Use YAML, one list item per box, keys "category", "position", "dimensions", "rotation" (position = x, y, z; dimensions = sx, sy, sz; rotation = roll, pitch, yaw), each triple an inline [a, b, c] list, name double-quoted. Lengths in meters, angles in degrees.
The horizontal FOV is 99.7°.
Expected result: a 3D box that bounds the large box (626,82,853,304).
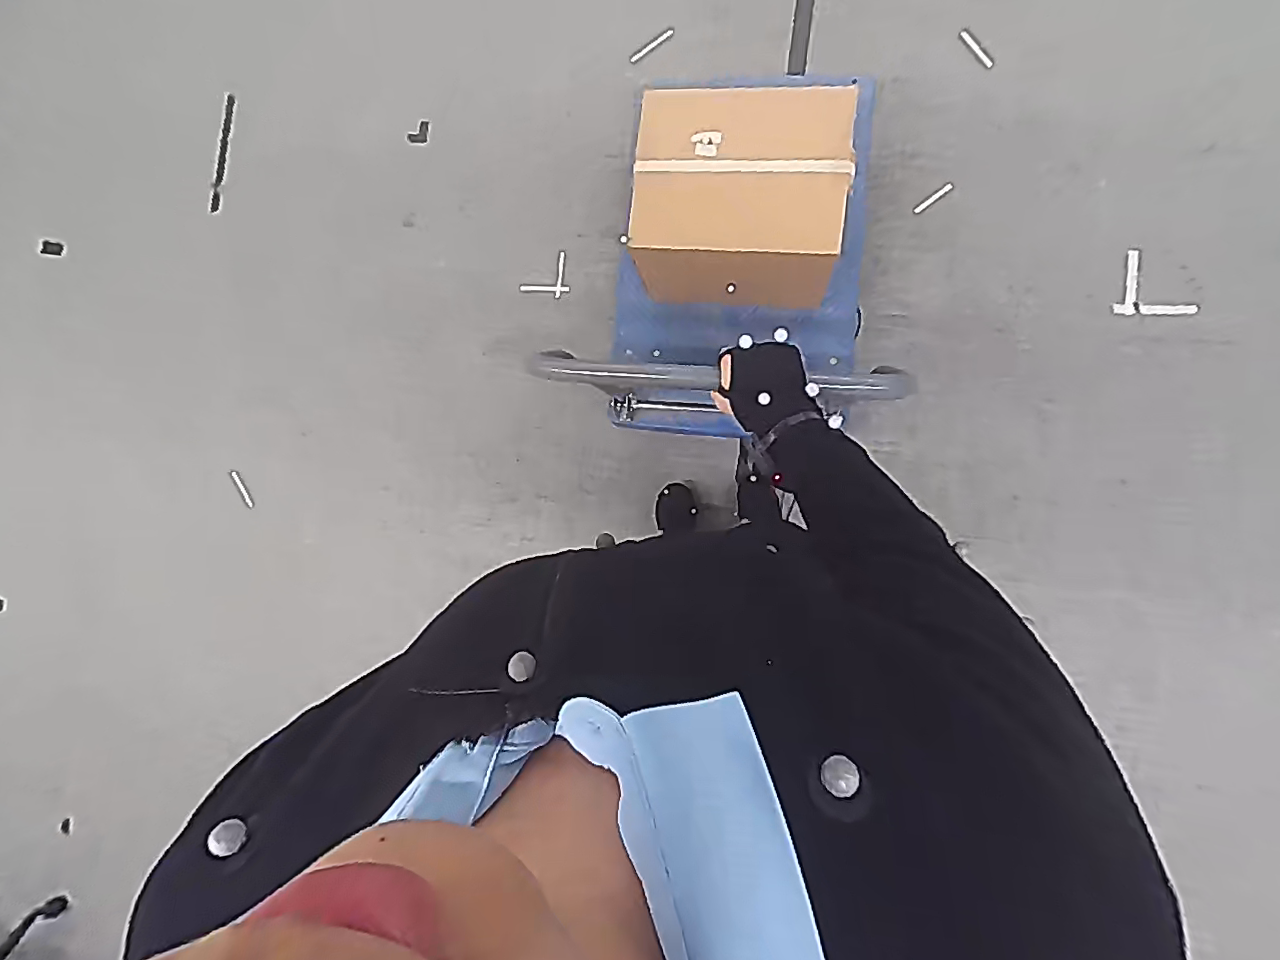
- category: "large box"
  position: [0.211, -0.580, 1.157]
  dimensions: [0.408, 0.320, 0.320]
  rotation: [6, 89, 12]
